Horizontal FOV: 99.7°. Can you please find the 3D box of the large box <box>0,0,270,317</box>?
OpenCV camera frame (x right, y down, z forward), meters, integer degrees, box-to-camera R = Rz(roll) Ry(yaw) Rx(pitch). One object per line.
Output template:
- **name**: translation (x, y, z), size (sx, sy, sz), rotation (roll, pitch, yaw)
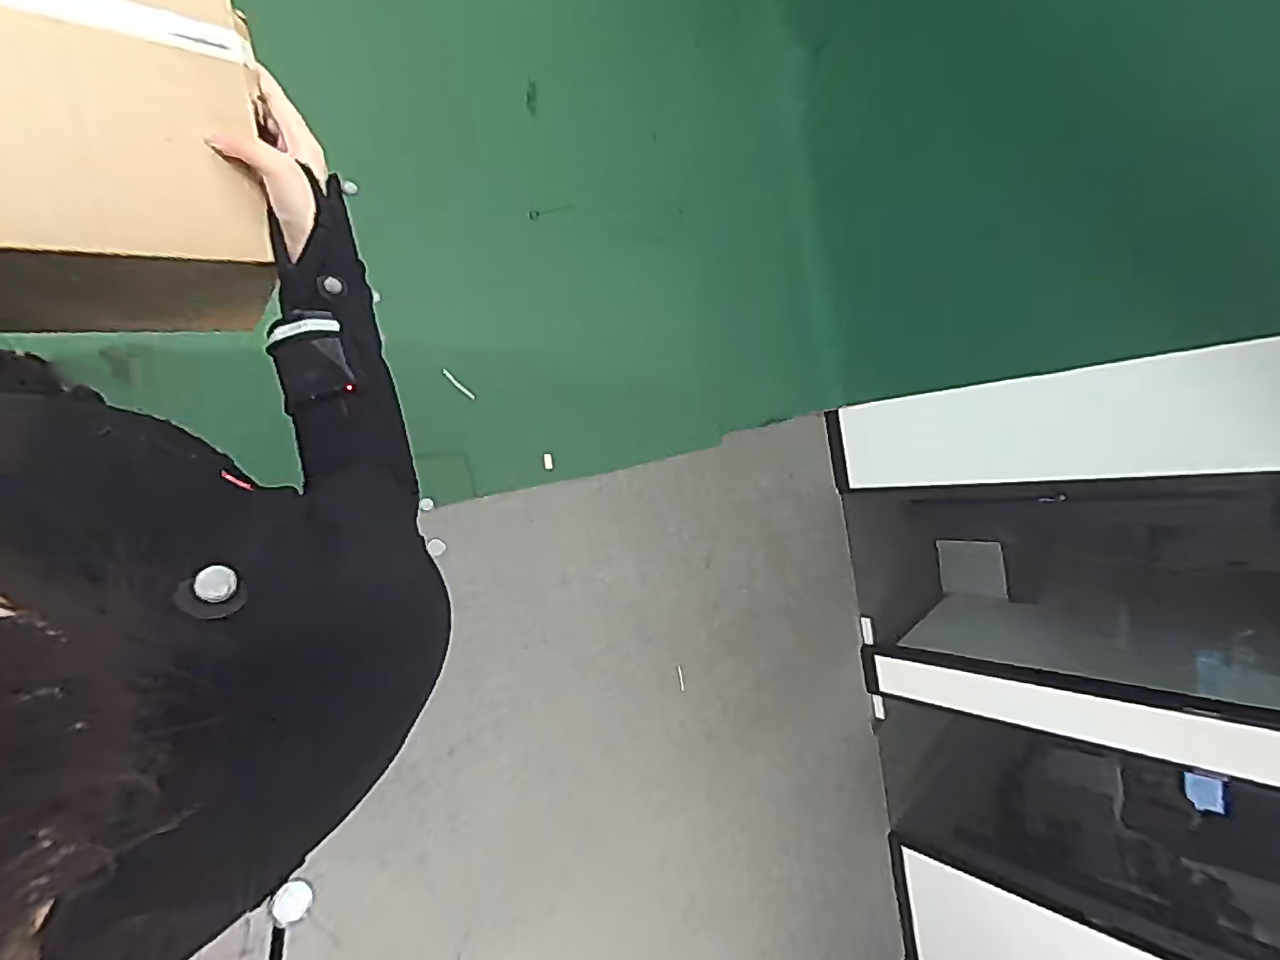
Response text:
- **large box**: translation (-0.565, -0.307, 0.419), size (0.408, 0.320, 0.320), rotation (-13, 100, -37)
